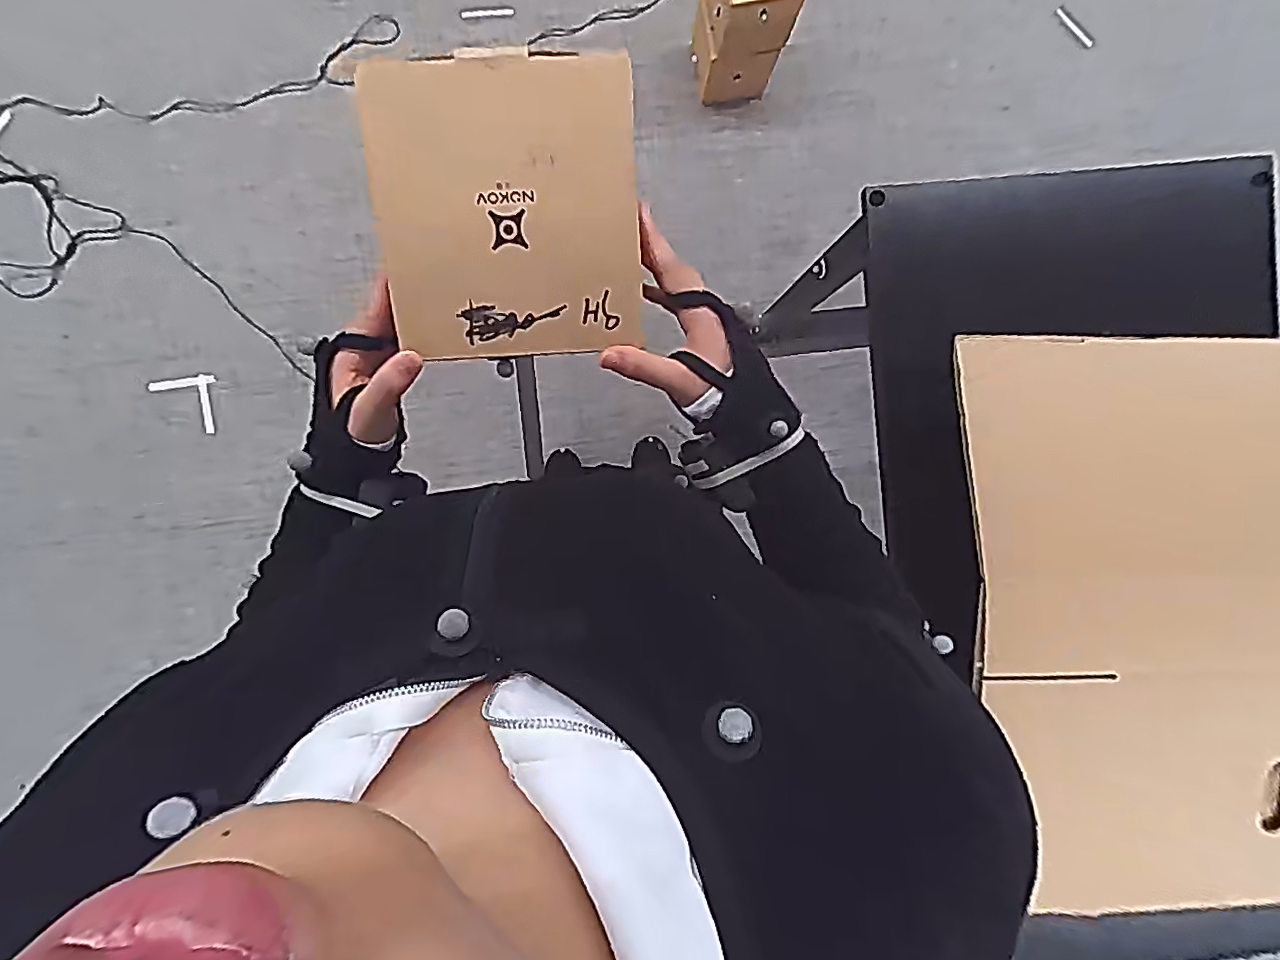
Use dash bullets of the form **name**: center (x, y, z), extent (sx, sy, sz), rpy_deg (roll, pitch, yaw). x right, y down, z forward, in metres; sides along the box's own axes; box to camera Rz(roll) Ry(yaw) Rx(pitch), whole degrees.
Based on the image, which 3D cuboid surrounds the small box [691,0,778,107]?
- **small box**: center (0.237, -1.102, 1.388), extent (0.179, 0.176, 0.168), rpy_deg (-10, 92, -1)

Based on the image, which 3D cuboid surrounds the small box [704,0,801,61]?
- **small box**: center (0.250, -1.099, 1.226), extent (0.179, 0.176, 0.168), rpy_deg (-13, 93, -3)

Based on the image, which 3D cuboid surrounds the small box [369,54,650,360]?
- **small box**: center (-0.080, -0.186, 0.420), extent (0.168, 0.176, 0.179), rpy_deg (-3, 104, 0)
